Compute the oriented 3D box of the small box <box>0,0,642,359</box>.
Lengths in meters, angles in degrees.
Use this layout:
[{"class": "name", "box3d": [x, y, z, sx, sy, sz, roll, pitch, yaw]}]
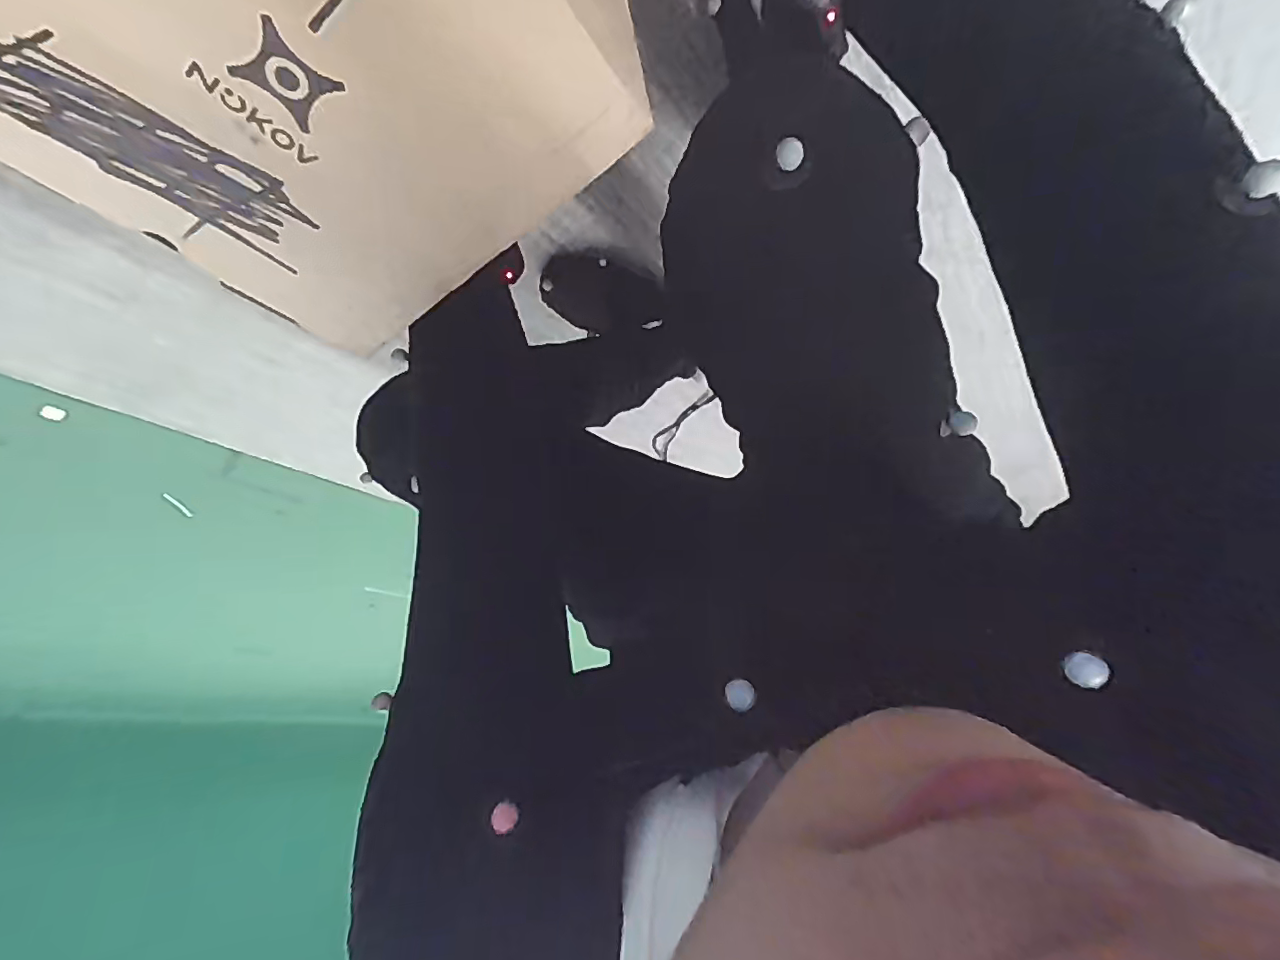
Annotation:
[{"class": "small box", "box3d": [-0.119, -0.186, 0.206, 0.179, 0.176, 0.168, -23, 148, 27]}]
